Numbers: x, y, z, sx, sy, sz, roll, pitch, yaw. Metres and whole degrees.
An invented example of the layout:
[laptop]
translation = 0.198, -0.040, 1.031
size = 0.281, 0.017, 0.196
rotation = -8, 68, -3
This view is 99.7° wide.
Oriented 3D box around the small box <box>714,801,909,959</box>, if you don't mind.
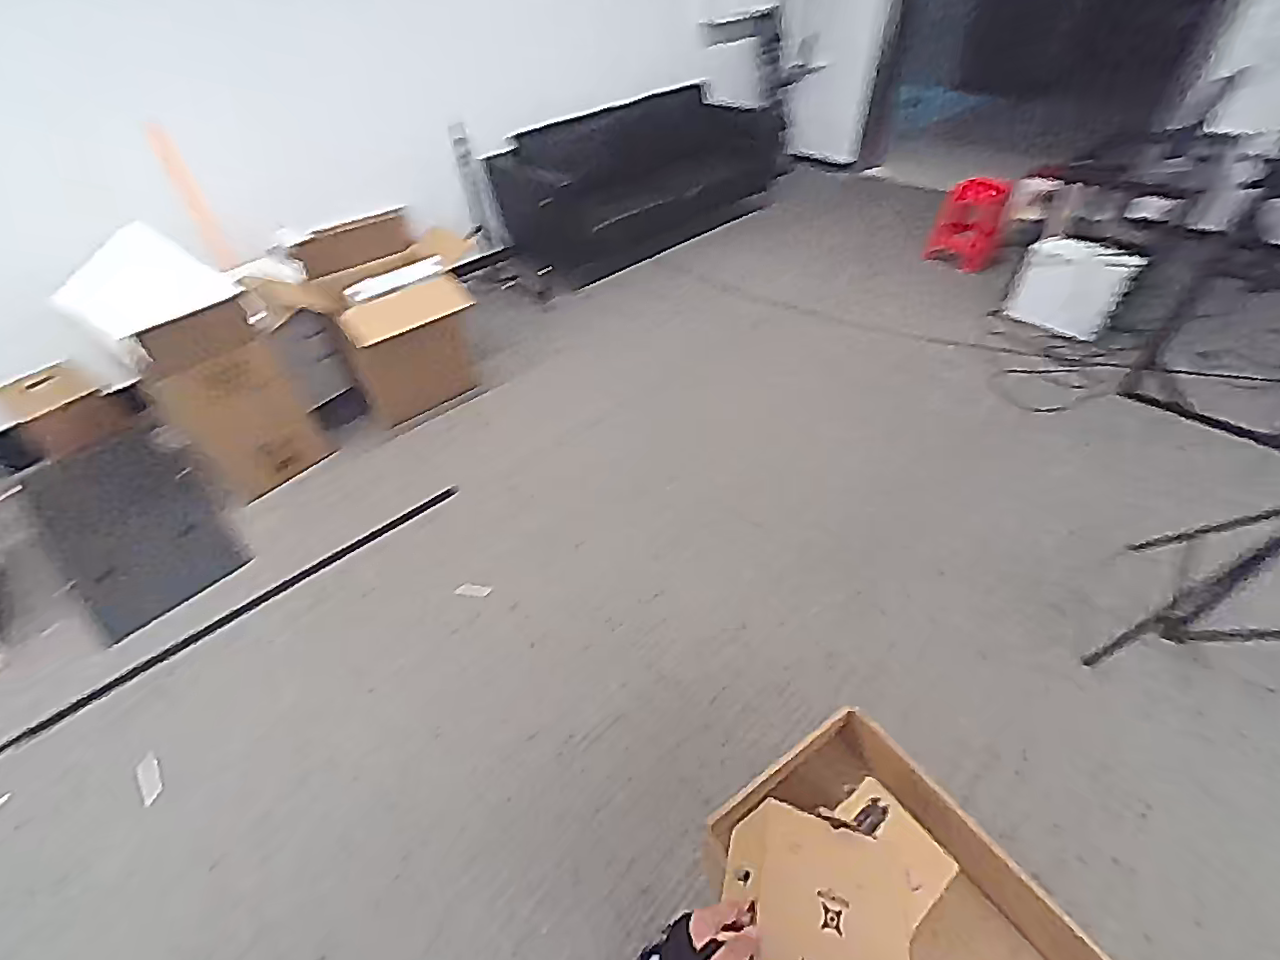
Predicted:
[small box]
translation = 0.193, 0.519, 0.635
size = 0.168, 0.176, 0.179
rotation = 17, 45, 5
